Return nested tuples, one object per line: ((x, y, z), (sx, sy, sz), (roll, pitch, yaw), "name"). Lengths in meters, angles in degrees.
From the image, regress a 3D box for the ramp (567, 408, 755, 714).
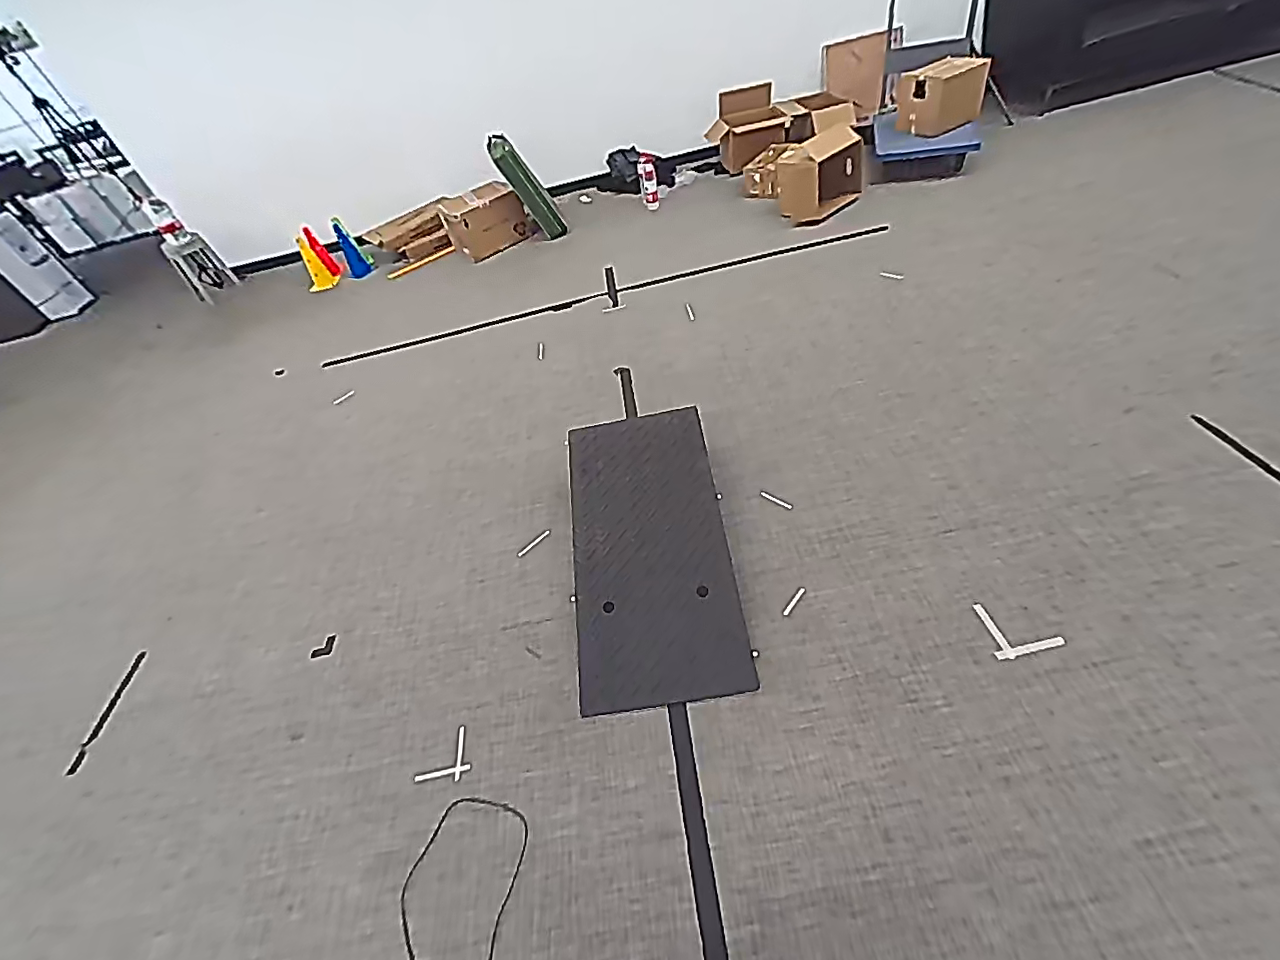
((0.021, 0.188, 1.733), (0.509, 0.206, 0.991), (-11, 46, 3), "ramp")
